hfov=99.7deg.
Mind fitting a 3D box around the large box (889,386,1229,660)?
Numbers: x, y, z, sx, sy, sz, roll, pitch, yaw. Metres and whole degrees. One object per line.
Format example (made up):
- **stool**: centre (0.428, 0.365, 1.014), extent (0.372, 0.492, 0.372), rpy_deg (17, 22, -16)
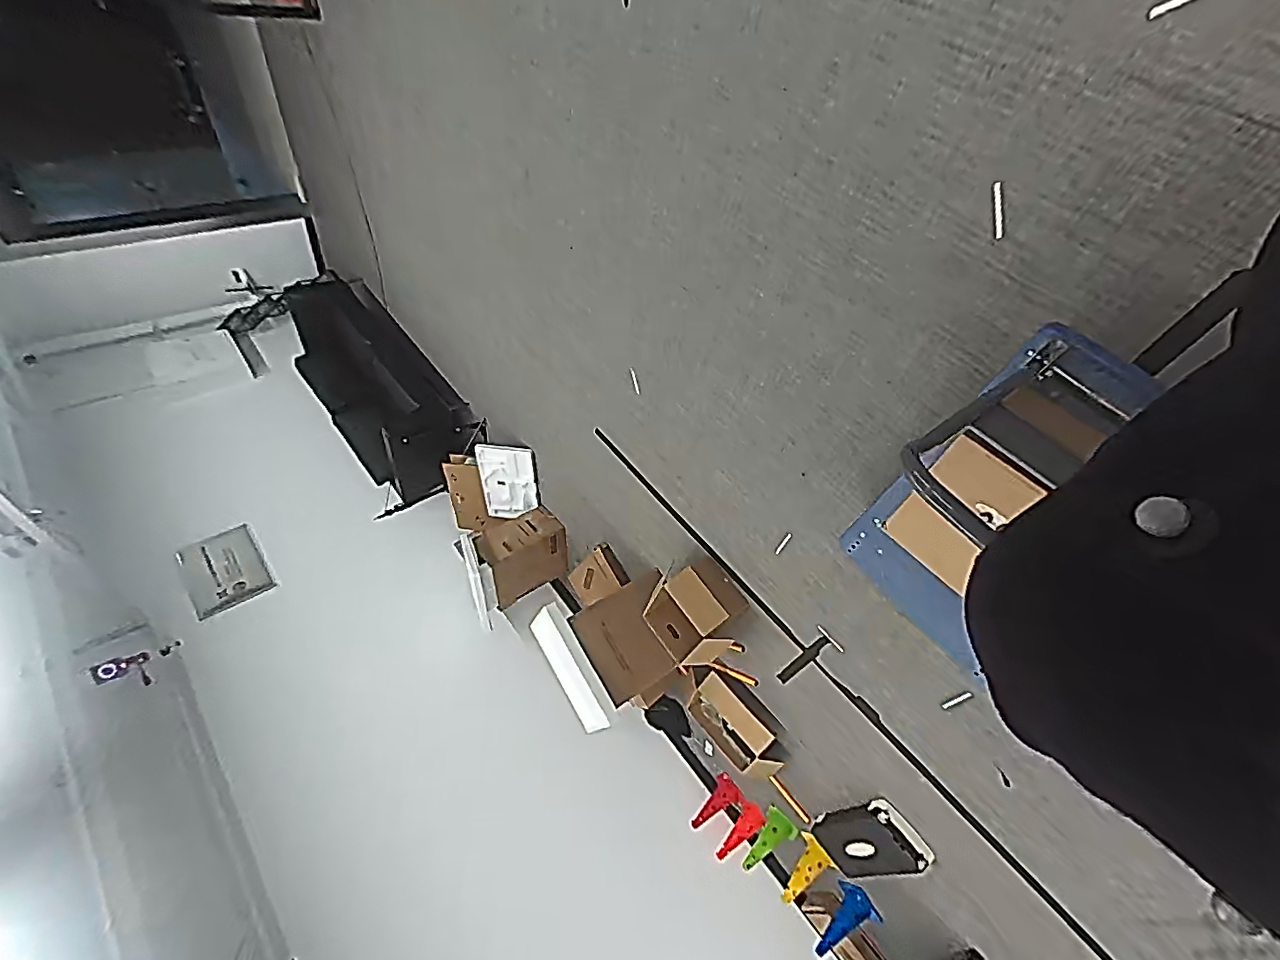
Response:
- **large box**: centre (0.831, 0.075, 1.115), extent (0.408, 0.320, 0.320), rpy_deg (46, 144, 26)
